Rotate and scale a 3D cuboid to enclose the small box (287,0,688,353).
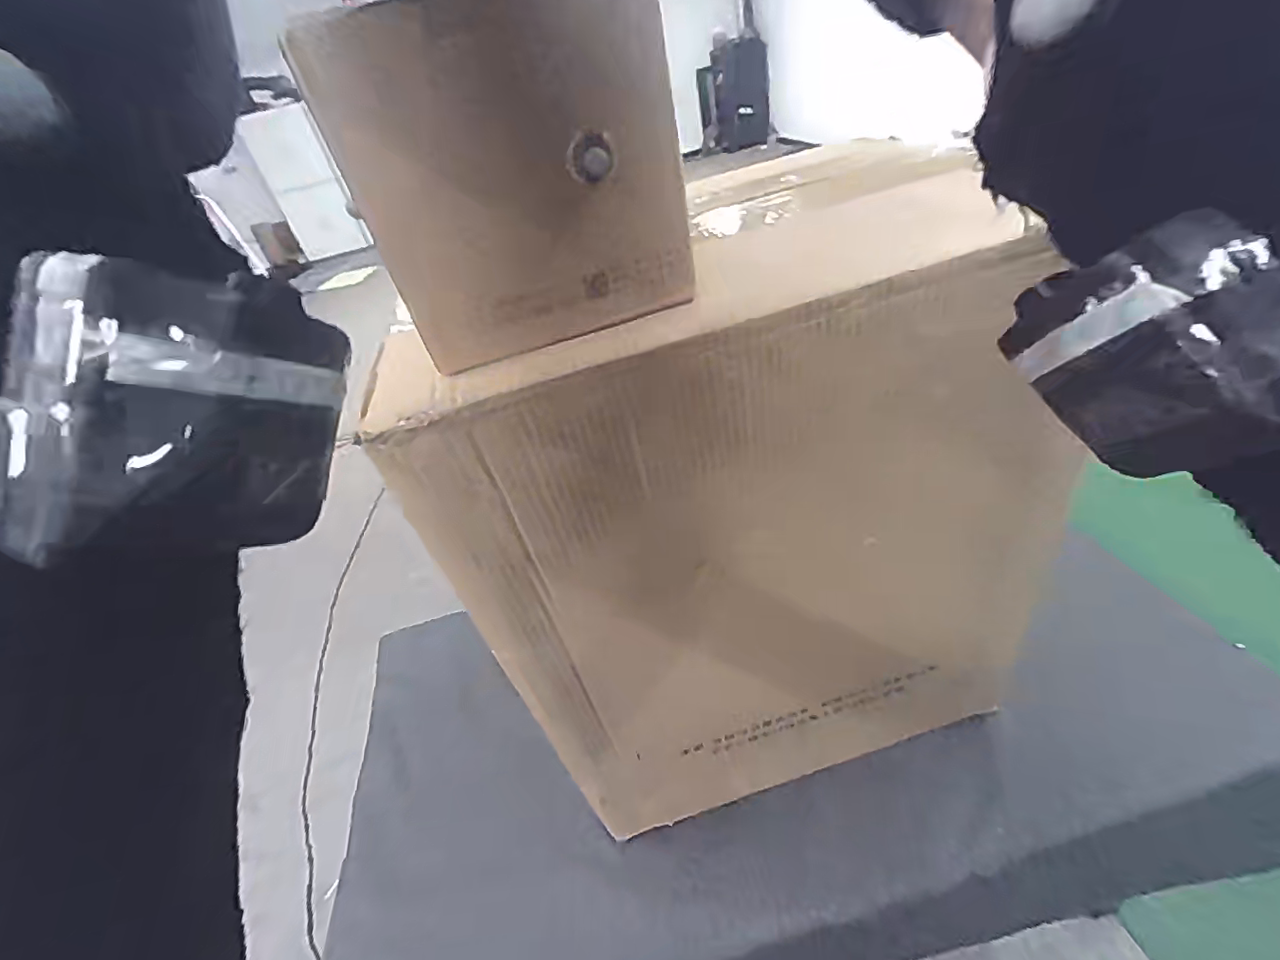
[{"bbox_3d":[-0.077,-0.197,0.344,0.168,0.176,0.179,-17,39,-6],"label":"small box"}]
